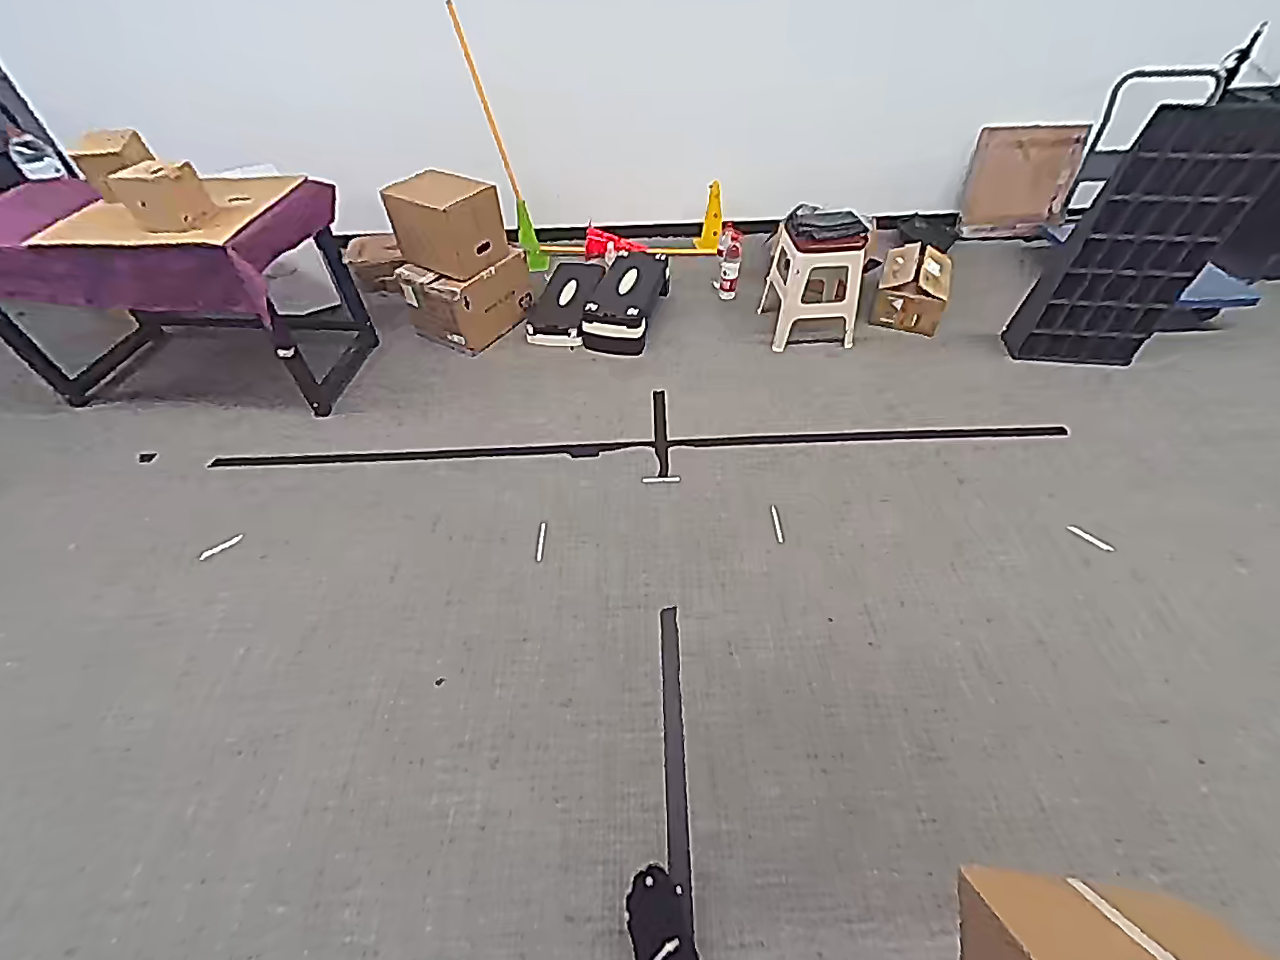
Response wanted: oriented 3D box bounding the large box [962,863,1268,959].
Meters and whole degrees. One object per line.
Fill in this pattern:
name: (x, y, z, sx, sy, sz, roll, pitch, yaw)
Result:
large box: (0.596, 0.710, 0.593, 0.320, 0.408, 0.320, 2, 78, 13)
